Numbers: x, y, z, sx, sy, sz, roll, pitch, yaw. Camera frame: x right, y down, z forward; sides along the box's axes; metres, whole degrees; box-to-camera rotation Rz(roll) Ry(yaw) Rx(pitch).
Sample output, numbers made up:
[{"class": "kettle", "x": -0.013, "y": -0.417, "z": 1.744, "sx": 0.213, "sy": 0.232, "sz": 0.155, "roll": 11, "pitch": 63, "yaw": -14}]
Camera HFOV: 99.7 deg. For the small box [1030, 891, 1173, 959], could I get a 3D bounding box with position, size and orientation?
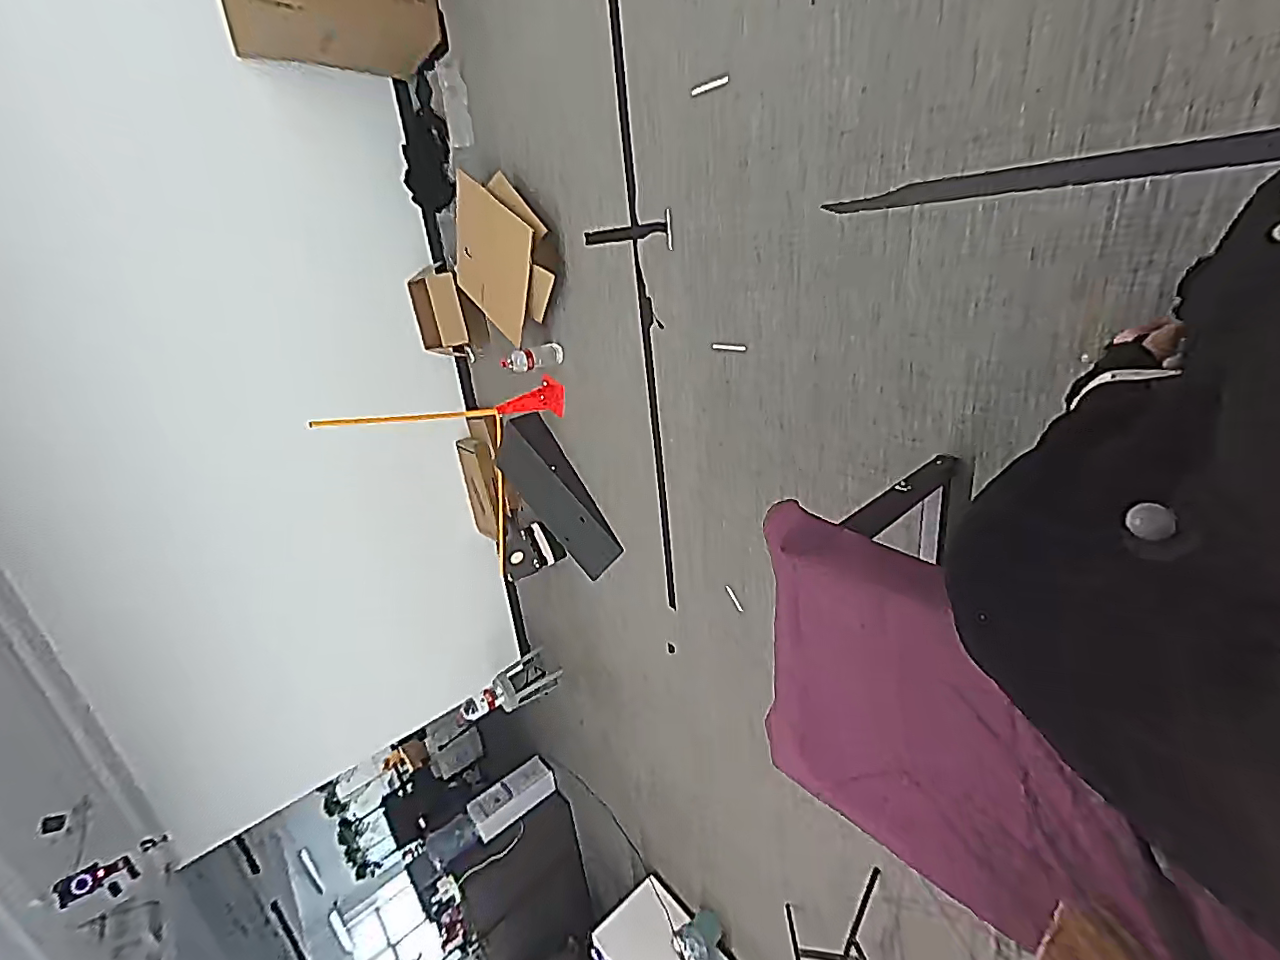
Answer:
[{"class": "small box", "x": 0.658, "y": 0.746, "z": 0.766, "sx": 0.168, "sy": 0.176, "sz": 0.179, "roll": 24, "pitch": 126, "yaw": 44}]
